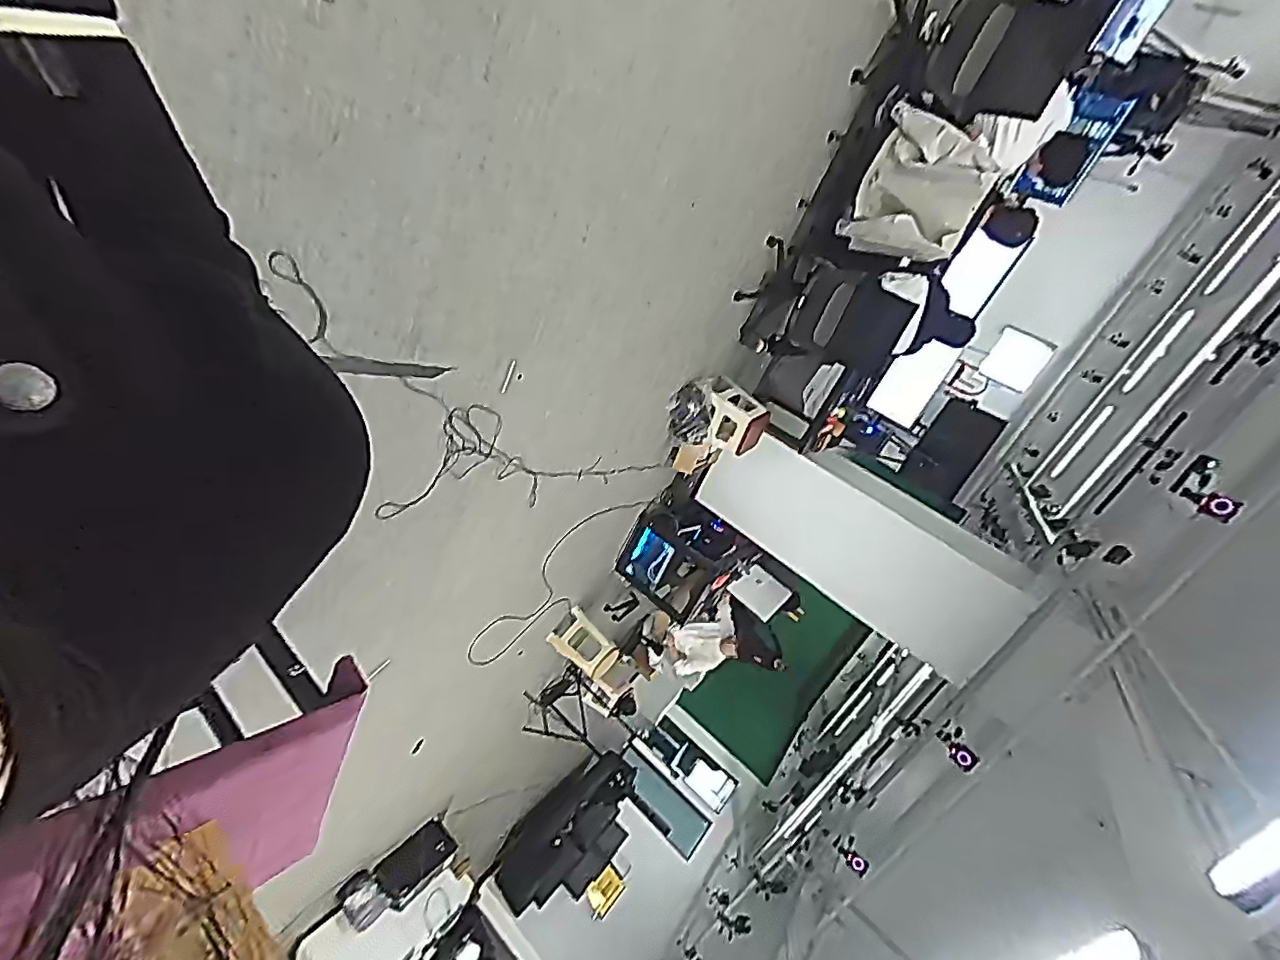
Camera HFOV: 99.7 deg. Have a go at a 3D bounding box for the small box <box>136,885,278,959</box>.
[{"bbox_3d":[-0.827,0.931,1.034,0.168,0.176,0.179,-19,139,-54],"label":"small box"}]

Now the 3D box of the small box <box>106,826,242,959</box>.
[{"bbox_3d":[-0.956,0.859,1.108,0.168,0.176,0.179,-14,136,-57],"label":"small box"}]
